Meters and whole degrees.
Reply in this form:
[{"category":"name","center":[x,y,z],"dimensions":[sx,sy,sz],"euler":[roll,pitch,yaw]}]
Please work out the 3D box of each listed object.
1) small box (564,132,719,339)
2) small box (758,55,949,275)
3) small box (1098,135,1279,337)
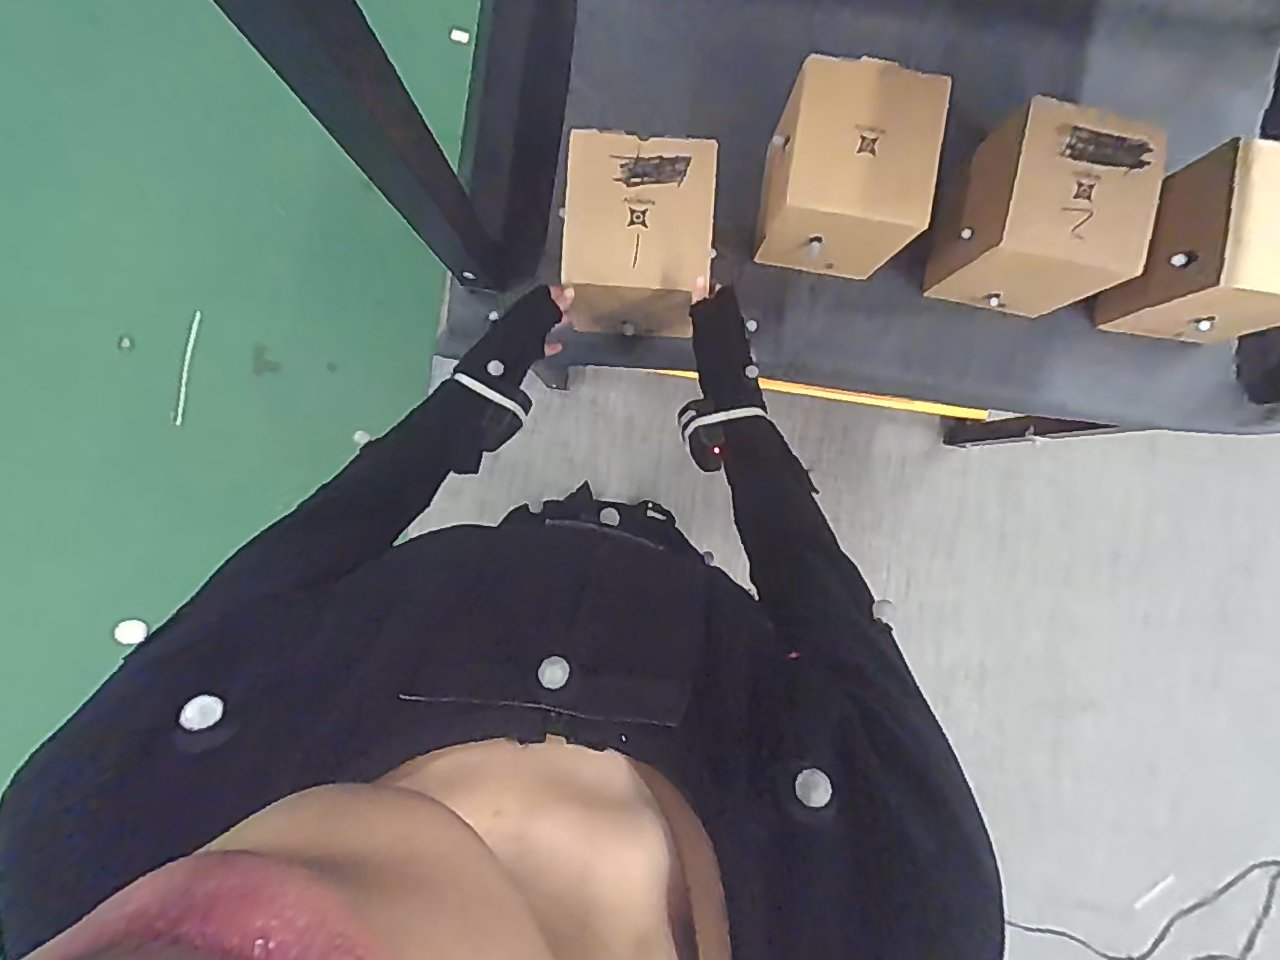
[{"category":"small box","center":[0.000,-0.293,0.679],"dimensions":[0.168,0.176,0.179],"euler":[3,88,-1]},{"category":"small box","center":[0.256,-0.382,0.689],"dimensions":[0.168,0.176,0.179],"euler":[8,89,-1]},{"category":"small box","center":[0.741,-0.296,0.694],"dimensions":[0.168,0.176,0.179],"euler":[8,89,-1]}]
